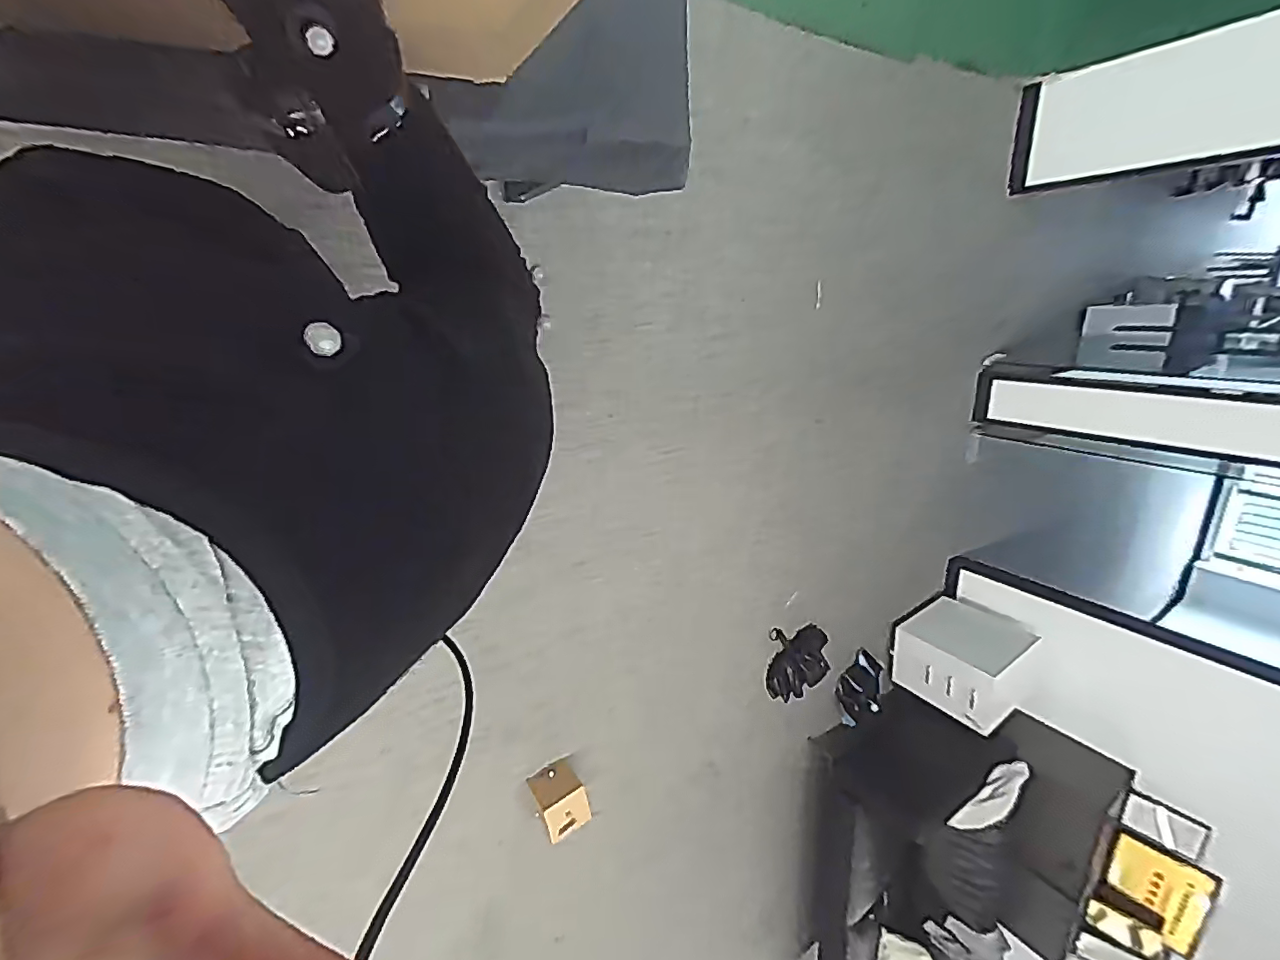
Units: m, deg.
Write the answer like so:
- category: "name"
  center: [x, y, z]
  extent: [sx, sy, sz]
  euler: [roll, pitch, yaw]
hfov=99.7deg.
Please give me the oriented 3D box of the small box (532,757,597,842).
- category: "small box"
  center: [-0.284, 1.191, 2.028]
  extent: [0.168, 0.176, 0.179]
  euler: [-22, 115, -29]
